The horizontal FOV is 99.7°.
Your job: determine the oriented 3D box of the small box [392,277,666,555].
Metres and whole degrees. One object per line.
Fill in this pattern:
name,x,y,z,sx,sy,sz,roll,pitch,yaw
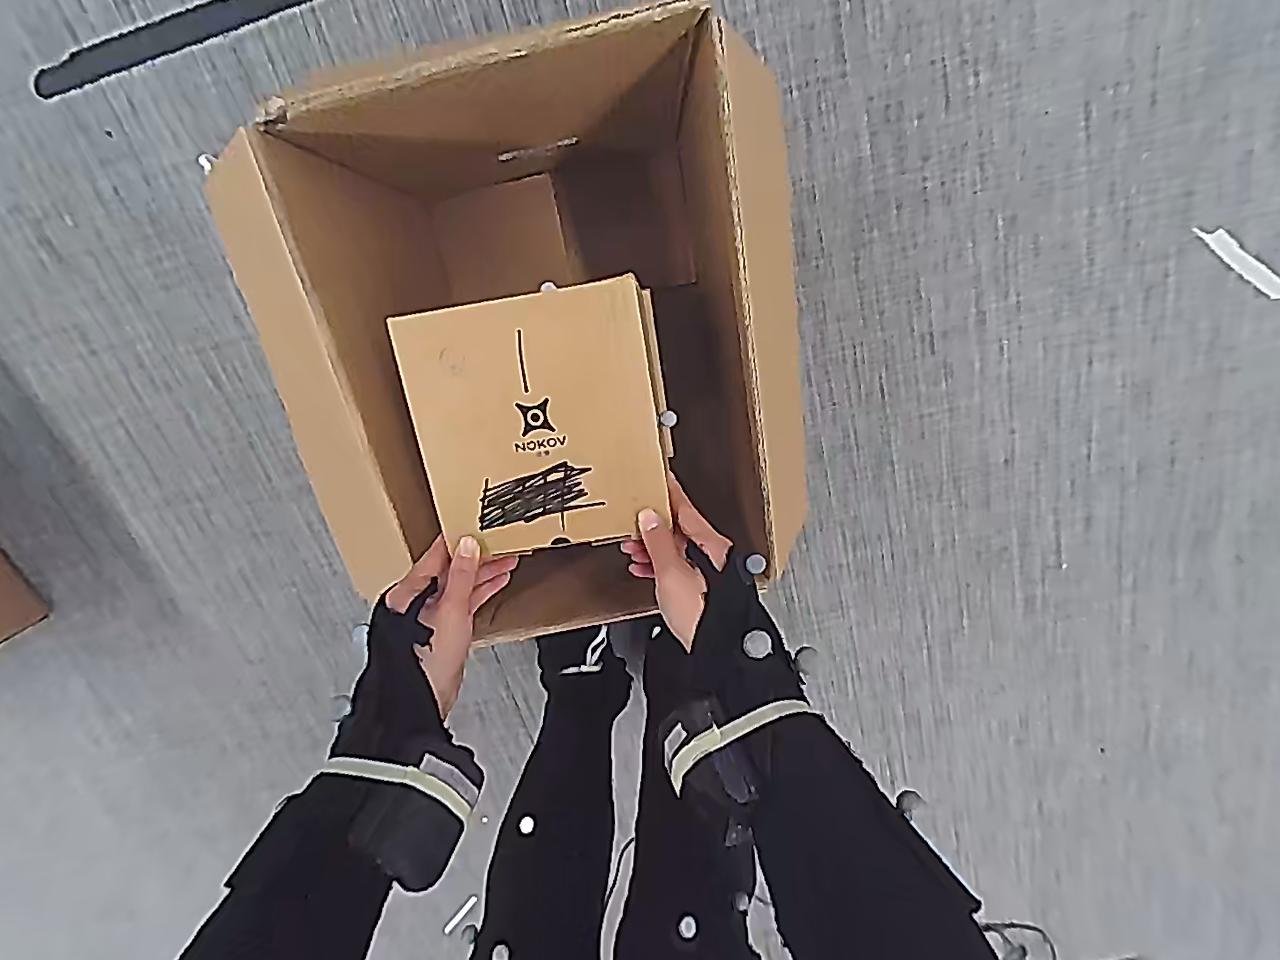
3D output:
small box,-0.068,-0.057,0.448,0.168,0.176,0.179,-8,103,4
